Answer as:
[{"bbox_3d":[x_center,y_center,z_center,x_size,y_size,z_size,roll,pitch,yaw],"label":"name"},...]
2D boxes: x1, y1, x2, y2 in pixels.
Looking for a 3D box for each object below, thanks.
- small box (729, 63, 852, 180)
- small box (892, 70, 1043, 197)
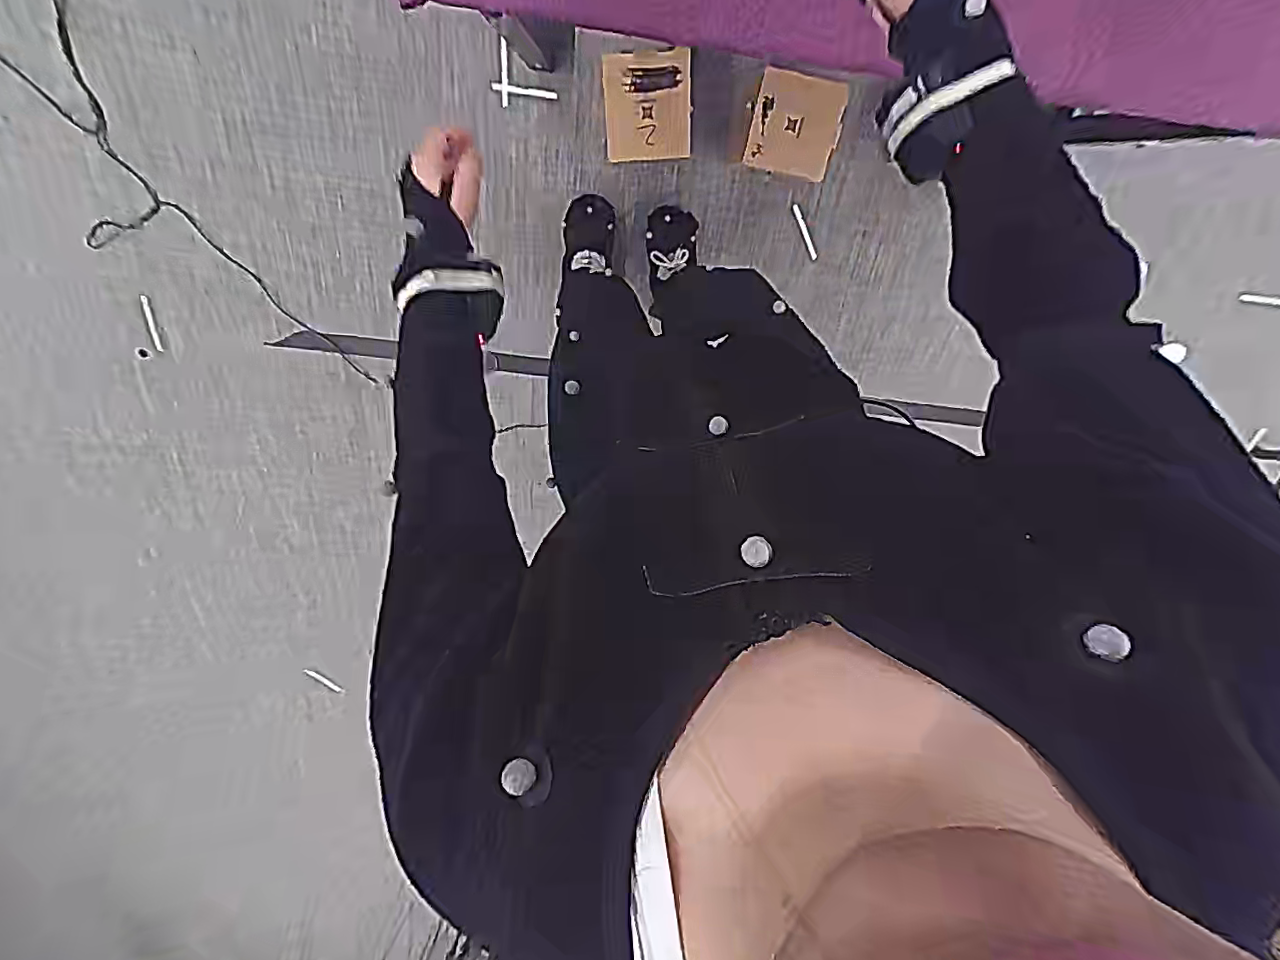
[{"bbox_3d":[0.300,-0.737,1.122,0.179,0.176,0.168,8,120,-8],"label":"small box"},{"bbox_3d":[0.680,-0.728,1.145,0.179,0.176,0.168,20,118,-13],"label":"small box"}]
